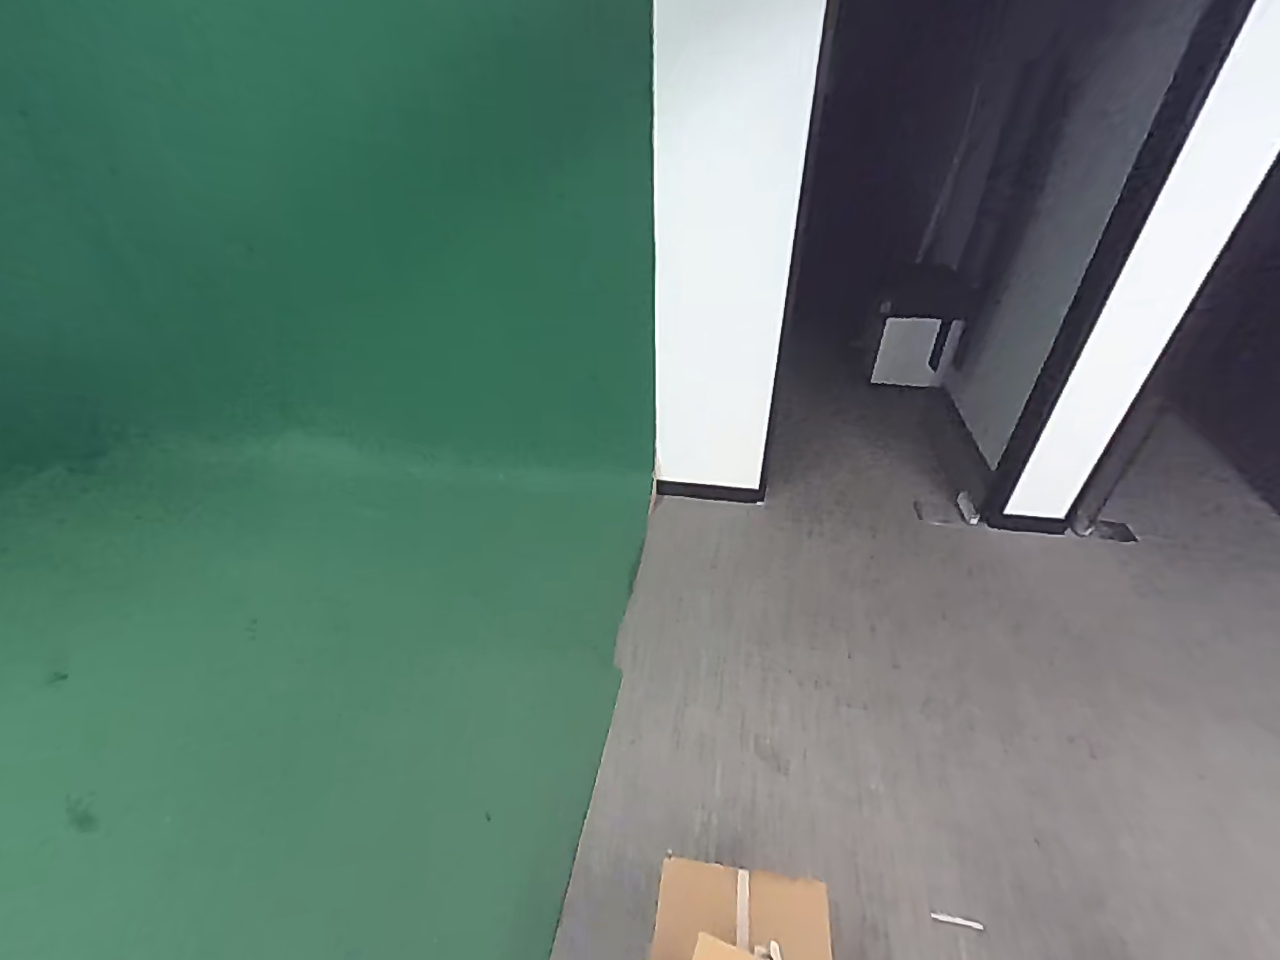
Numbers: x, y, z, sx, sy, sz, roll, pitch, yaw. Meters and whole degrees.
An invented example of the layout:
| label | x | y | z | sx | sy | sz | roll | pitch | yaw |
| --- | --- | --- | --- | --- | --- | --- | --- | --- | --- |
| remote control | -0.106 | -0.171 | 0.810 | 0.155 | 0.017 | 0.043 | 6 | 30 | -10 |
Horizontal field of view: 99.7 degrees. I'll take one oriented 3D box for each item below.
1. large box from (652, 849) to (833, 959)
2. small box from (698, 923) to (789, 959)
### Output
| label | x | y | z | sx | sy | sz | roll | pitch | yaw |
| --- | --- | --- | --- | --- | --- | --- | --- | --- | --- |
| large box | 0.177 | 0.982 | 0.983 | 0.320 | 0.320 | 0.408 | 4 | 36 | 9 |
| small box | 0.151 | 0.815 | 0.798 | 0.168 | 0.176 | 0.179 | 10 | 39 | 19 |
